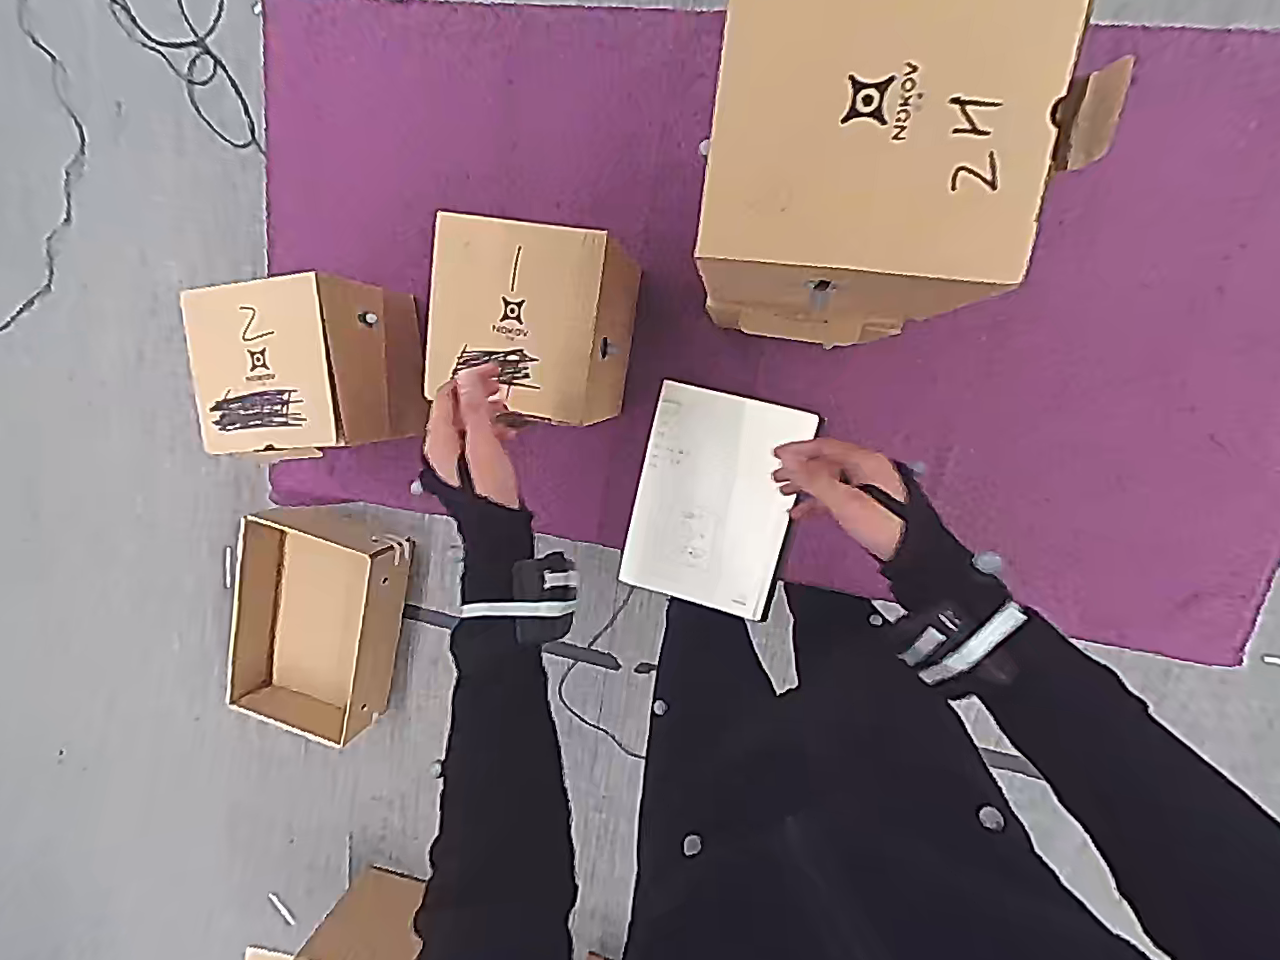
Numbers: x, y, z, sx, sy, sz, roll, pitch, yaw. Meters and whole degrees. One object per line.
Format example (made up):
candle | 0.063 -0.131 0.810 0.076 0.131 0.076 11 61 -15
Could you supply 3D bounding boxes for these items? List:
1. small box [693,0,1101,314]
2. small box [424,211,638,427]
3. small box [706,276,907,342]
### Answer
small box | 0.138 -0.206 0.348 0.179 0.176 0.168 9 102 8
small box | -0.105 -0.161 0.574 0.168 0.176 0.179 11 101 8
small box | 0.163 -0.231 0.510 0.168 0.176 0.179 10 102 8
